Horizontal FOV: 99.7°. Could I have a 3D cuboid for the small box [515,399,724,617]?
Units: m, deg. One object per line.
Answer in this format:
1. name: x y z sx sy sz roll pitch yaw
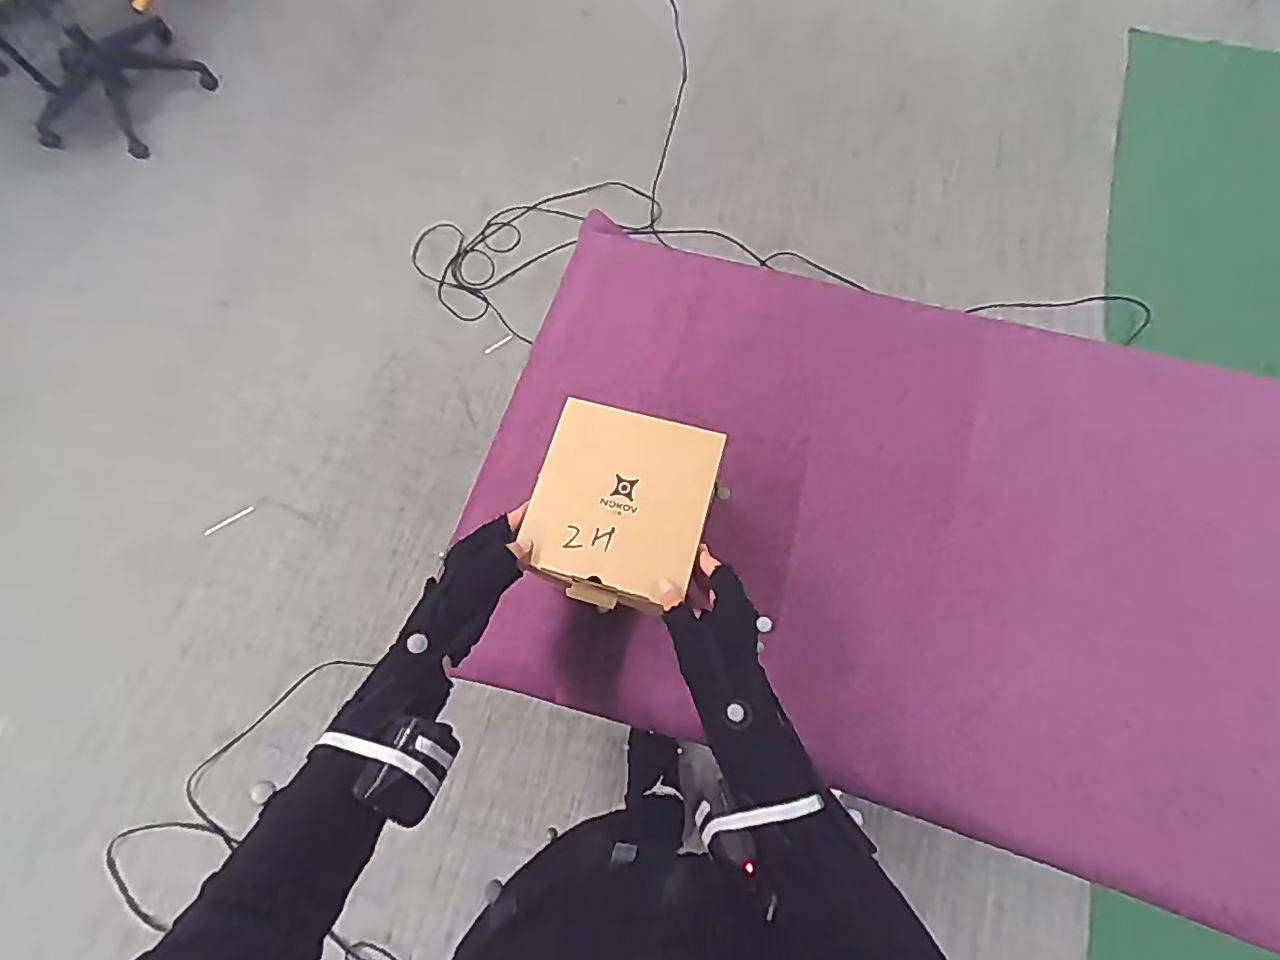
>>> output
1. small box: -0.014 0.039 0.595 0.168 0.176 0.179 14 73 8
